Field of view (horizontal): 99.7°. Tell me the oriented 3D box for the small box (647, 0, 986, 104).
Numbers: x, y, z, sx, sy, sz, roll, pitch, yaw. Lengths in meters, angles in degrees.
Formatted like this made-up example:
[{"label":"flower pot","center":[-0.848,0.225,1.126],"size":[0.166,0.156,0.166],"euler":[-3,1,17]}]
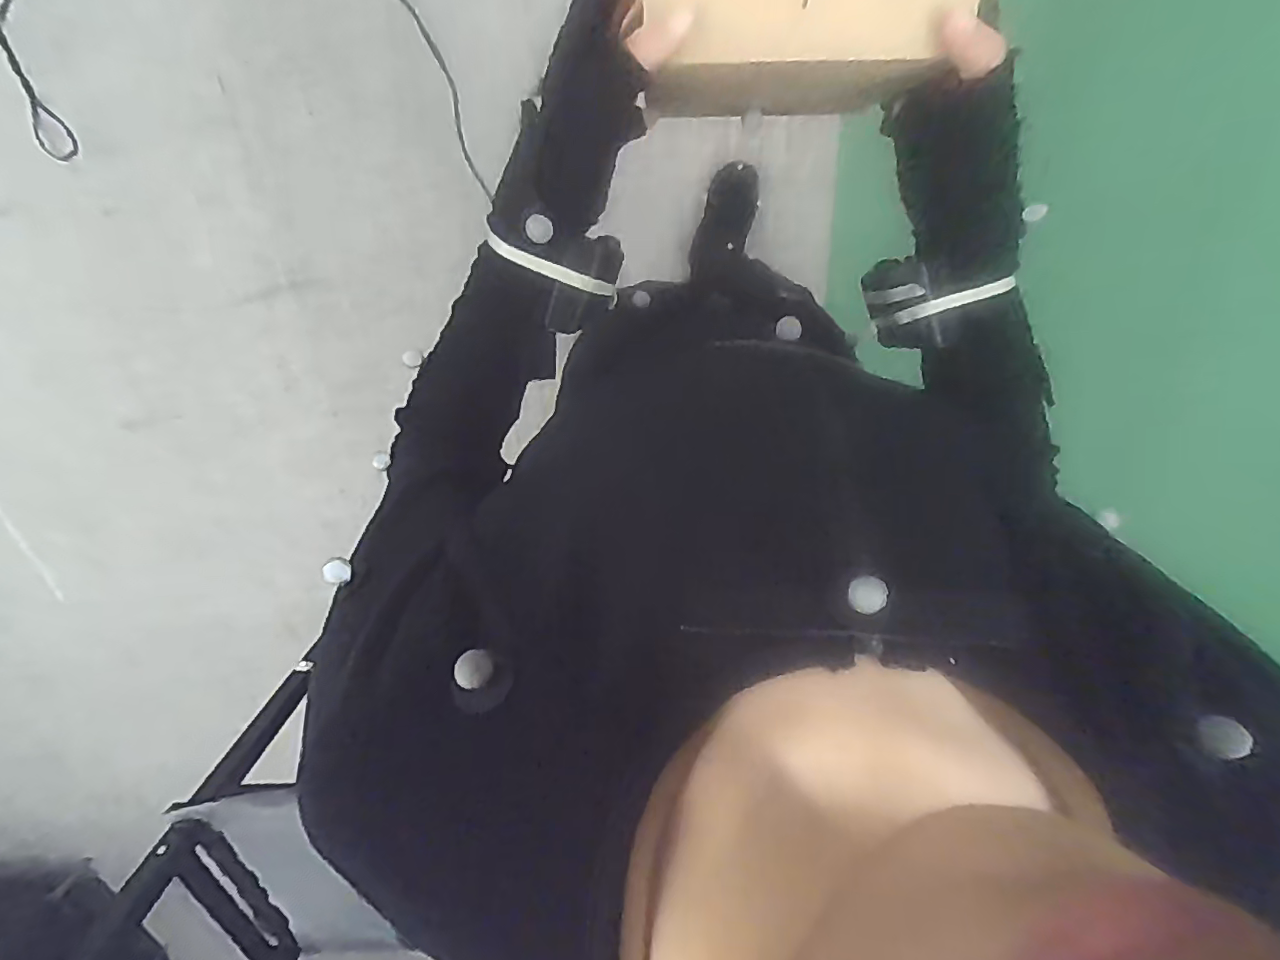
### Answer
[{"label":"small box","center":[0.087,-0.334,0.305],"size":[0.168,0.176,0.179],"euler":[0,116,2]}]
